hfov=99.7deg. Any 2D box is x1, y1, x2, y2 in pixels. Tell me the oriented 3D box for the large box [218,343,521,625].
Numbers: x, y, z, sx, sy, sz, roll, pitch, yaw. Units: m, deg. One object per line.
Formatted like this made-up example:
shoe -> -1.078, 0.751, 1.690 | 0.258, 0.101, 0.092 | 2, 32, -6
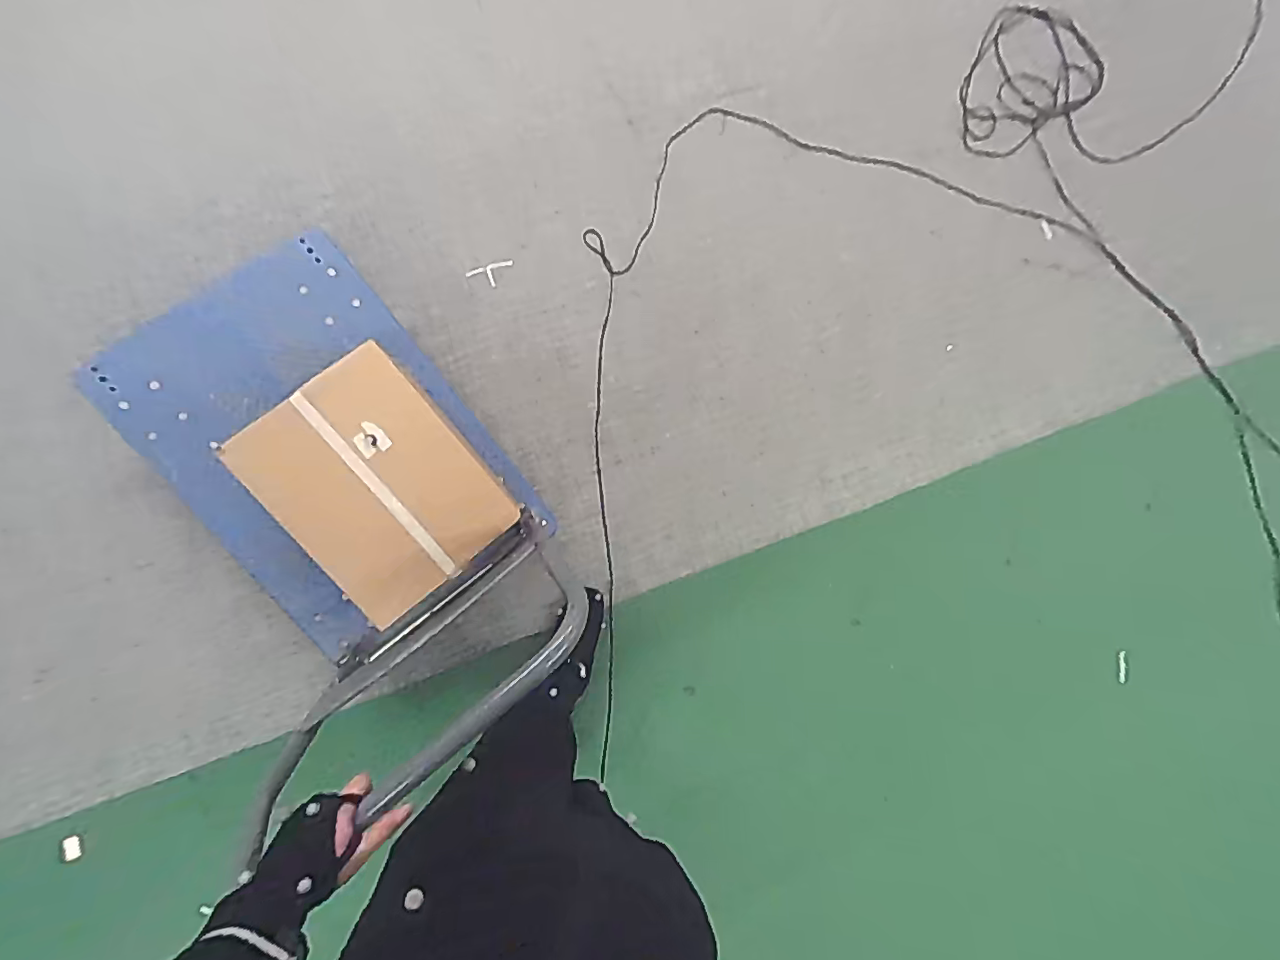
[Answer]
large box -> -0.483, 0.008, 1.078 | 0.320, 0.320, 0.408 | -40, 98, -10
